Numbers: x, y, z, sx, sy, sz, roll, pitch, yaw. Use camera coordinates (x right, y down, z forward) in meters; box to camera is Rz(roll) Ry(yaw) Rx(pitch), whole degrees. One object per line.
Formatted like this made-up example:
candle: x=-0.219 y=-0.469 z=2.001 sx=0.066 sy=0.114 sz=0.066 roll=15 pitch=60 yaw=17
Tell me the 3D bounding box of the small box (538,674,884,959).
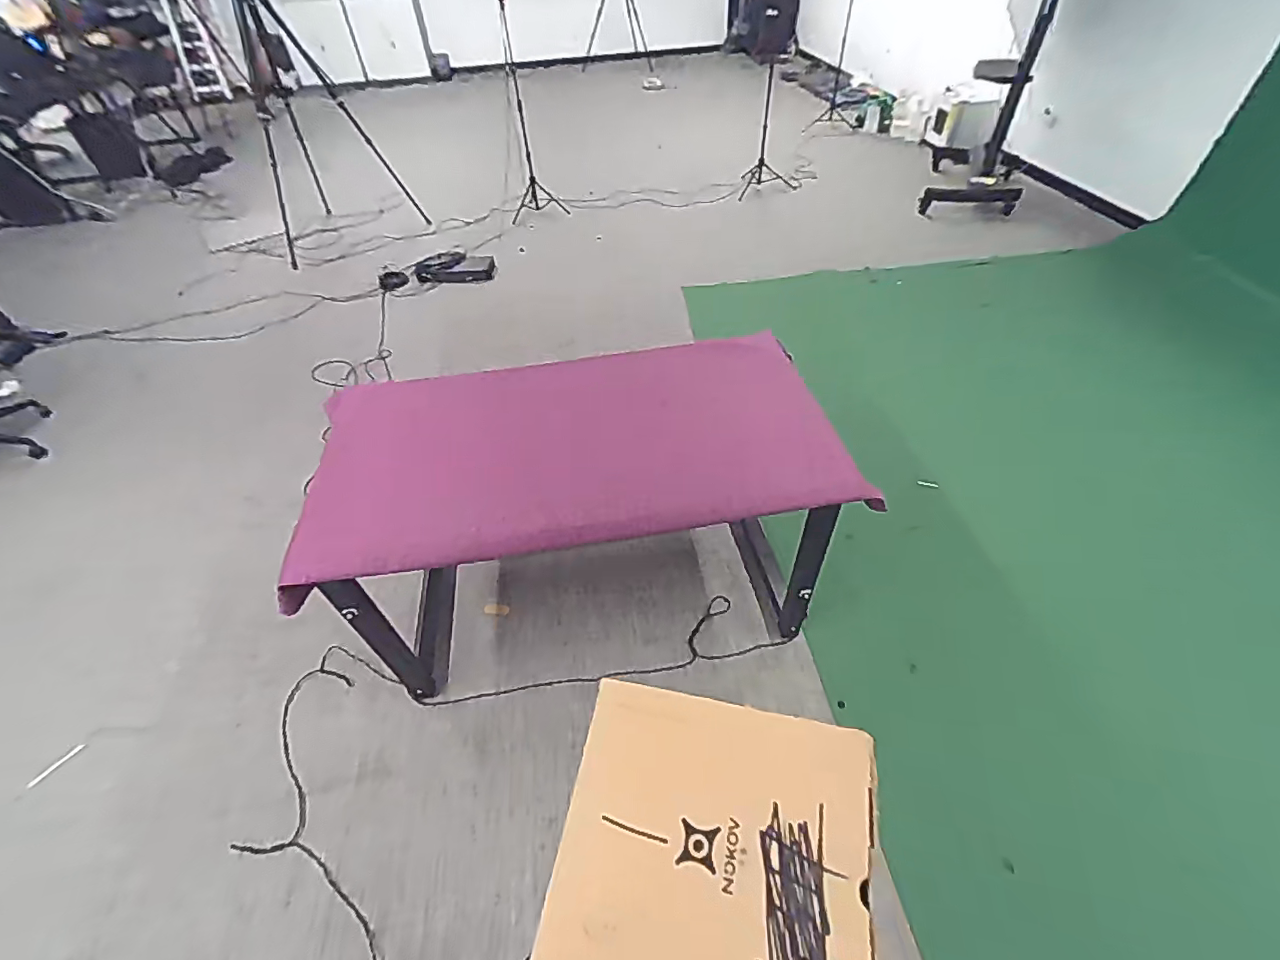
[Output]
small box: x=0.051 y=0.255 z=0.372 sx=0.179 sy=0.176 sz=0.168 roll=8 pitch=55 yaw=11
